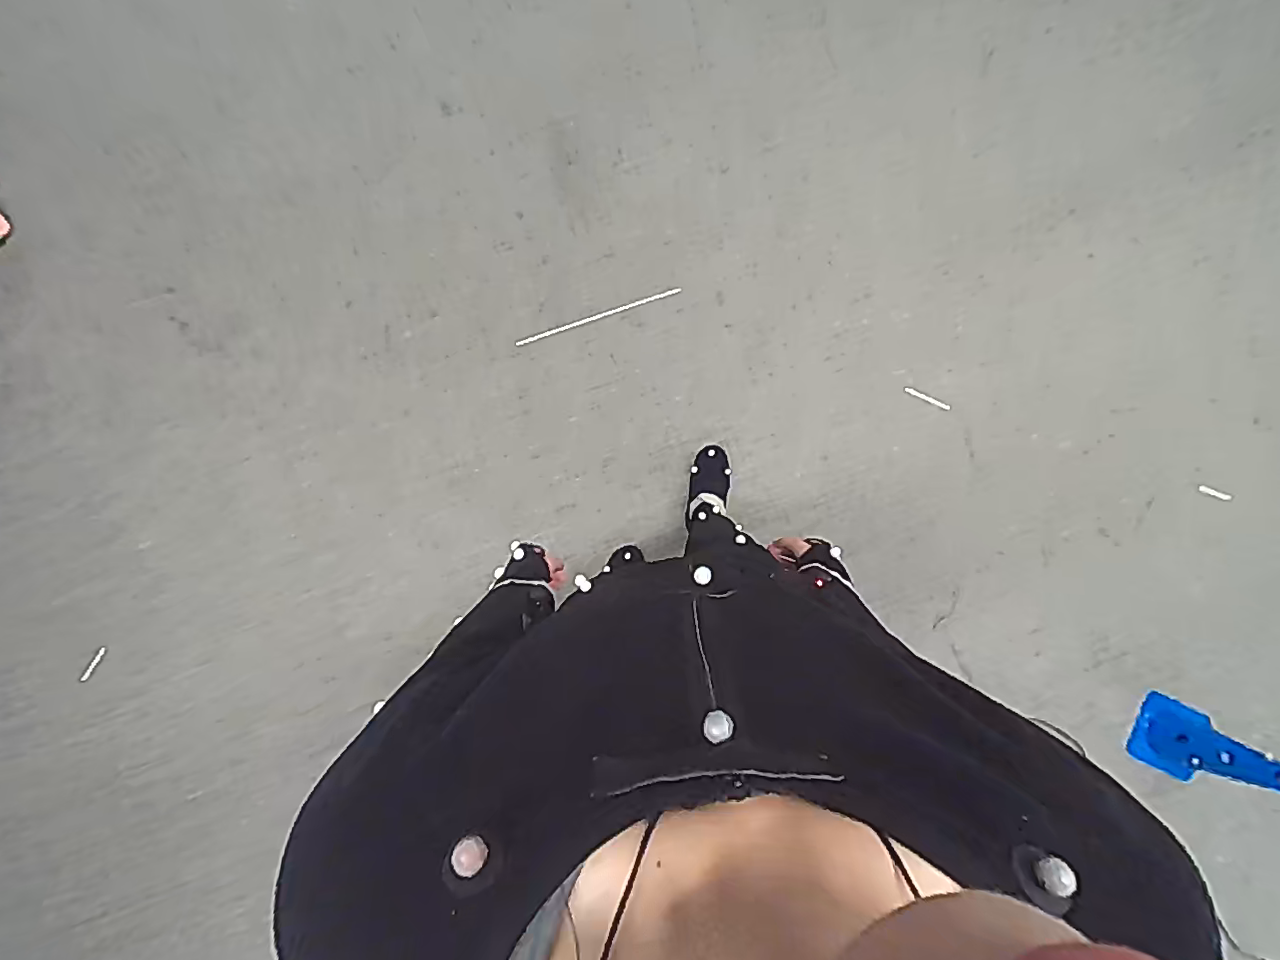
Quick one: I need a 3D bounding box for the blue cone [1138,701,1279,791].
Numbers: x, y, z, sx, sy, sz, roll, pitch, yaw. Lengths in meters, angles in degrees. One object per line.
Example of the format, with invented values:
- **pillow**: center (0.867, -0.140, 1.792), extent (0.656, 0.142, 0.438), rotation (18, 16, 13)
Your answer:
- **blue cone**: center (1.491, 0.708, 1.335), extent (0.192, 0.380, 0.193), rotation (25, 83, 1)
